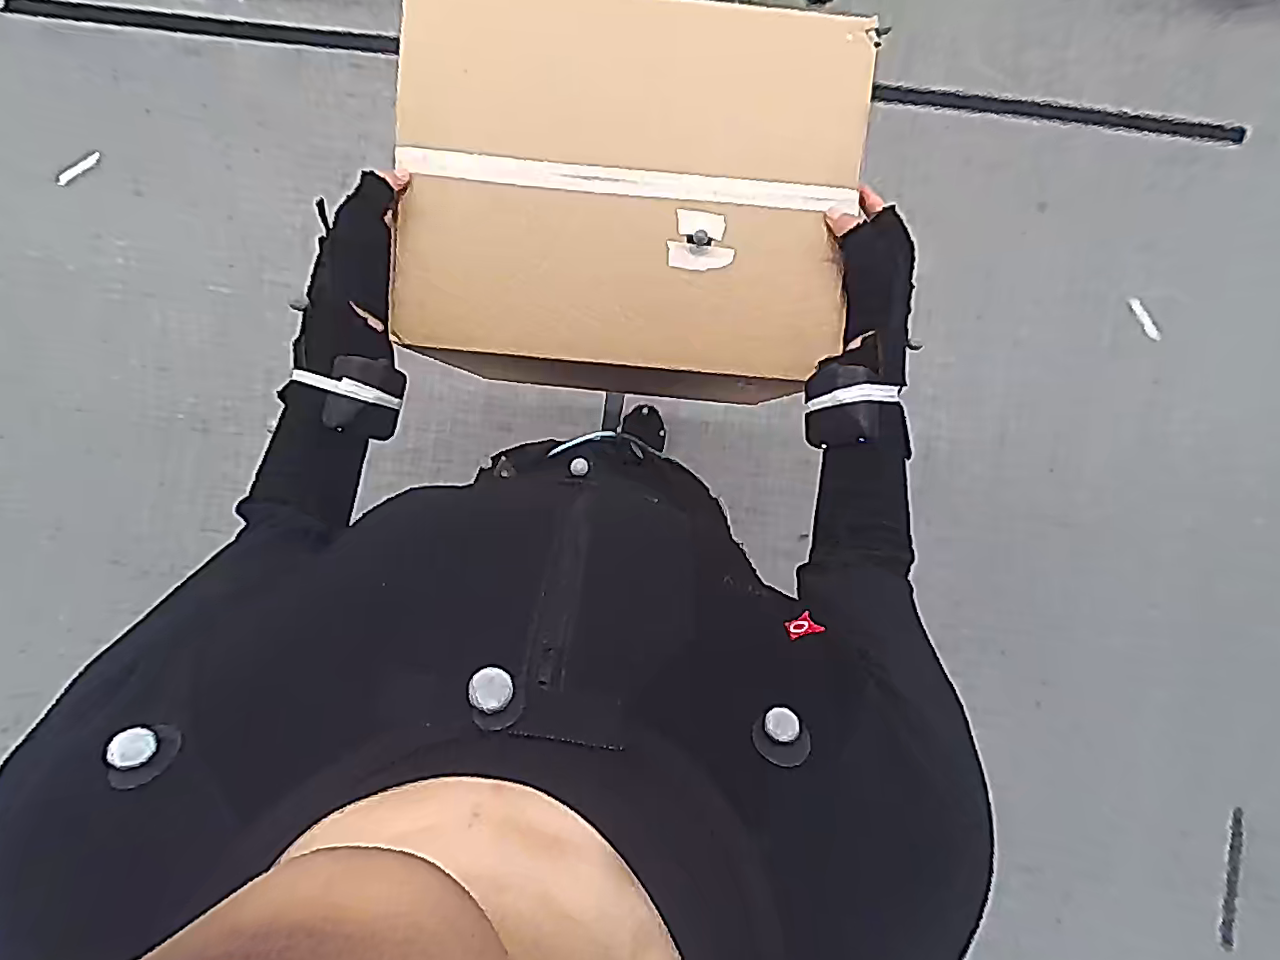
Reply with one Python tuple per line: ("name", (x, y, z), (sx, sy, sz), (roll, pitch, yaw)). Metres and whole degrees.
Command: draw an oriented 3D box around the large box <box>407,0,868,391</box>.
("large box", (-0.011, -0.283, 0.634), (0.408, 0.320, 0.320), (5, 96, -2))
